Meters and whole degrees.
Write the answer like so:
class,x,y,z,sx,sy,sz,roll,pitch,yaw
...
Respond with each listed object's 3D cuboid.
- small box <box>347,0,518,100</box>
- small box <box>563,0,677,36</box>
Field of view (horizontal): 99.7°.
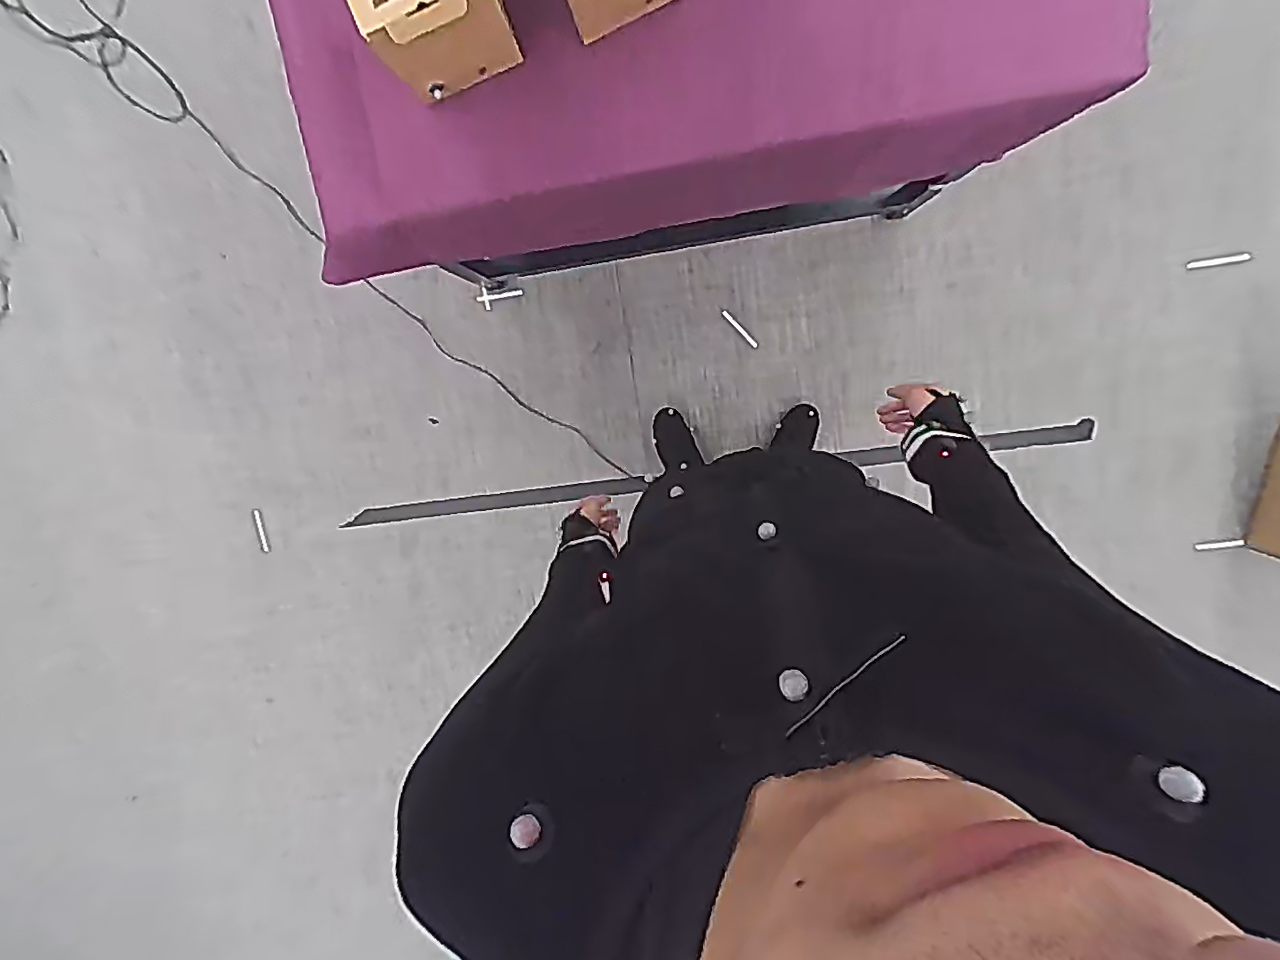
class,x,y,z,sx,sy,sz,roll,pitch,yaw
small box,-0.282,-0.648,0.716,0.168,0.176,0.179,-20,98,6
small box,-0.043,-0.722,0.691,0.168,0.176,0.179,-21,98,6
